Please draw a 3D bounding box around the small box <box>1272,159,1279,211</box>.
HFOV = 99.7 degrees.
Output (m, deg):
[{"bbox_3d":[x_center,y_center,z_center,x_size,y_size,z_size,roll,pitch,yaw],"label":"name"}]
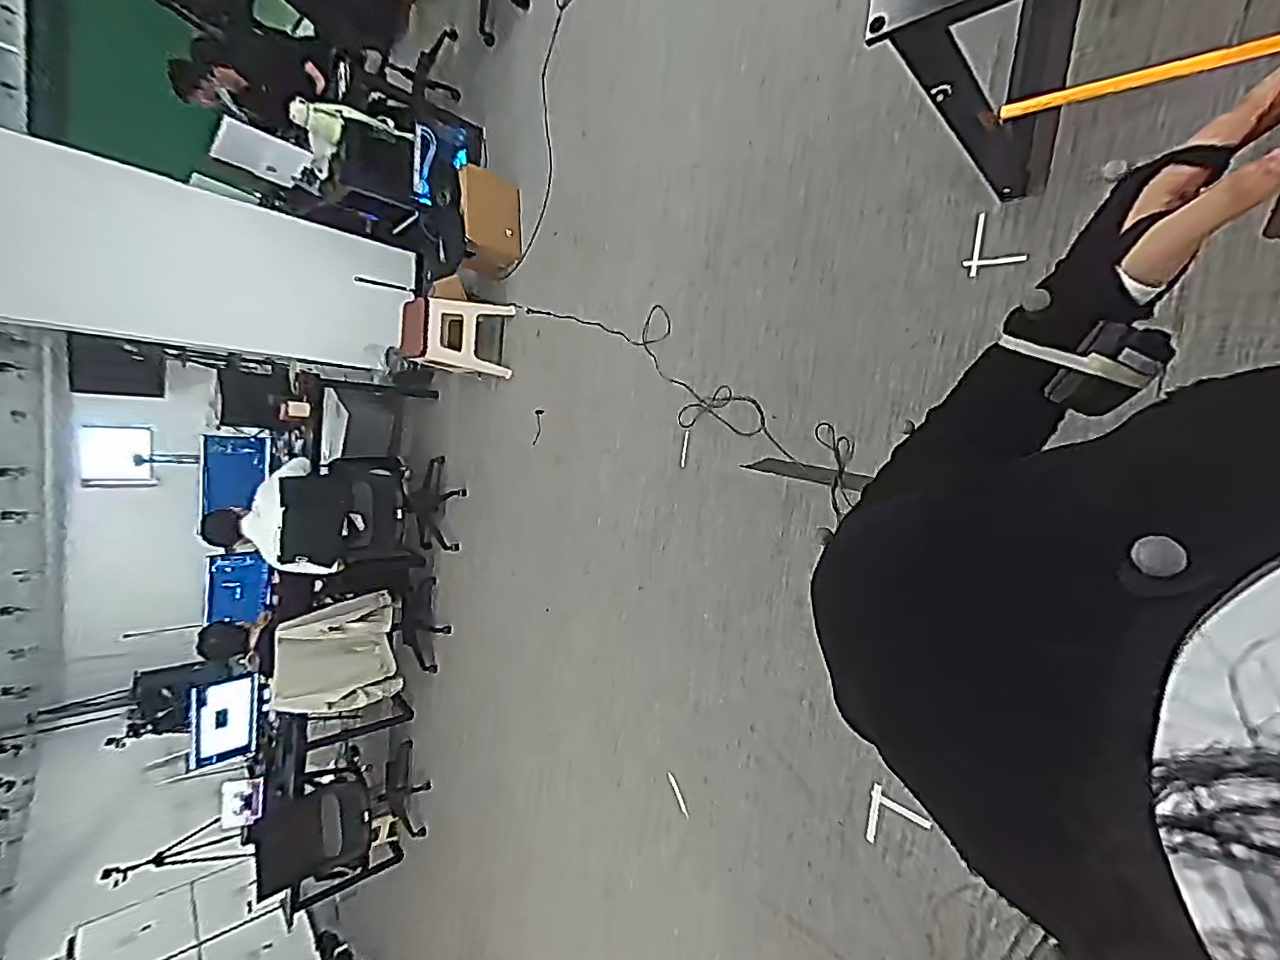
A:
[{"bbox_3d":[0.444,-0.228,0.248,0.168,0.176,0.179,21,113,42],"label":"small box"}]
